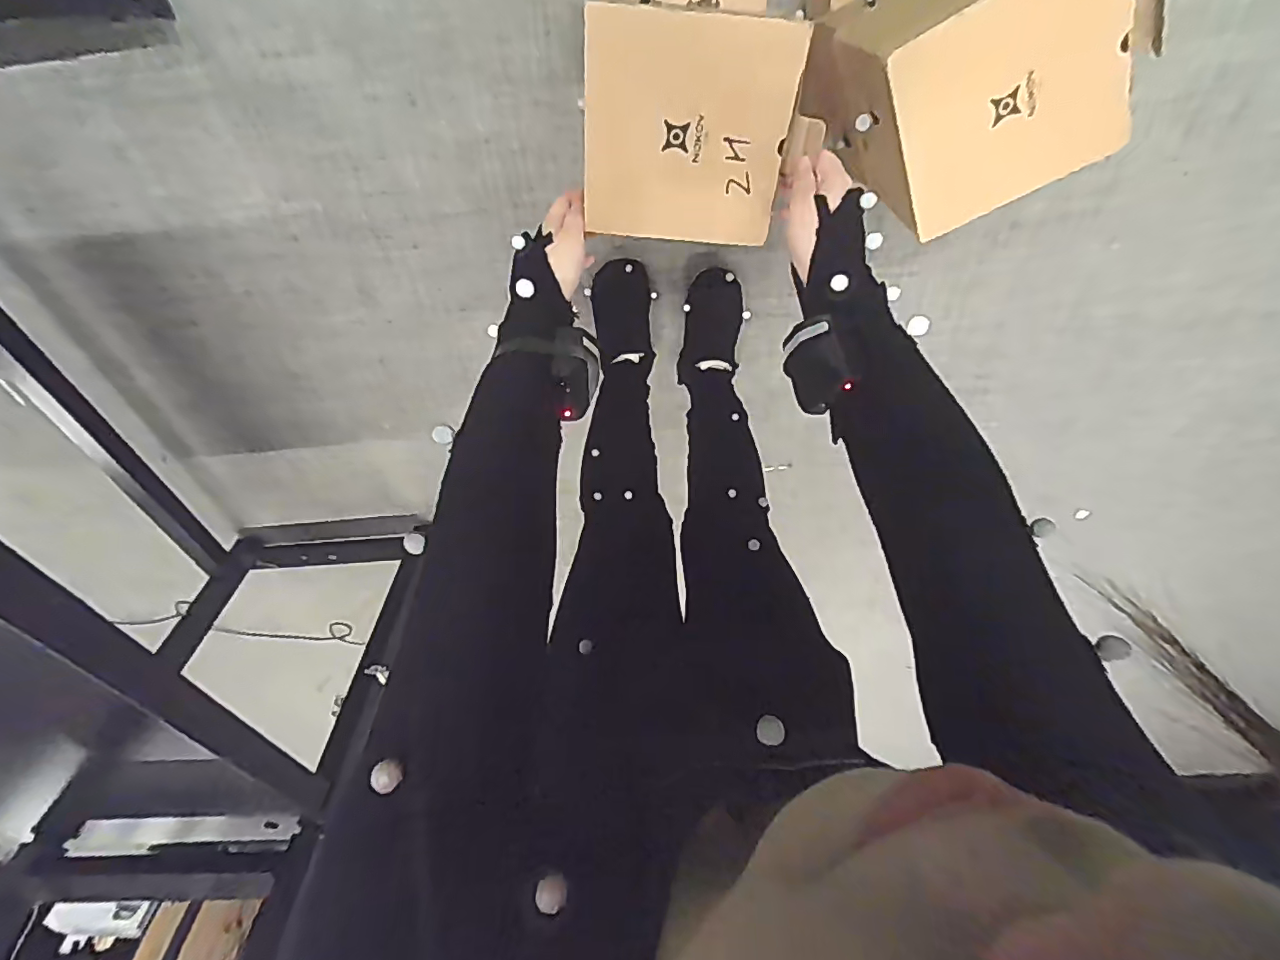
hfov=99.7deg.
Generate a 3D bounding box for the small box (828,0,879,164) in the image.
[{"bbox_3d":[0.324,-0.476,0.606,0.179,0.176,0.168,-19,132,17],"label":"small box"}]

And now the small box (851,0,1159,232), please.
[{"bbox_3d":[0.307,-0.365,0.486,0.179,0.176,0.168,-23,130,20],"label":"small box"}]

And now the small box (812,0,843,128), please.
[{"bbox_3d":[0.332,-0.595,0.716,0.179,0.176,0.168,-10,133,8],"label":"small box"}]

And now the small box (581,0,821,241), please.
[{"bbox_3d":[0.043,-0.342,0.502,0.179,0.176,0.168,4,133,-1],"label":"small box"}]
